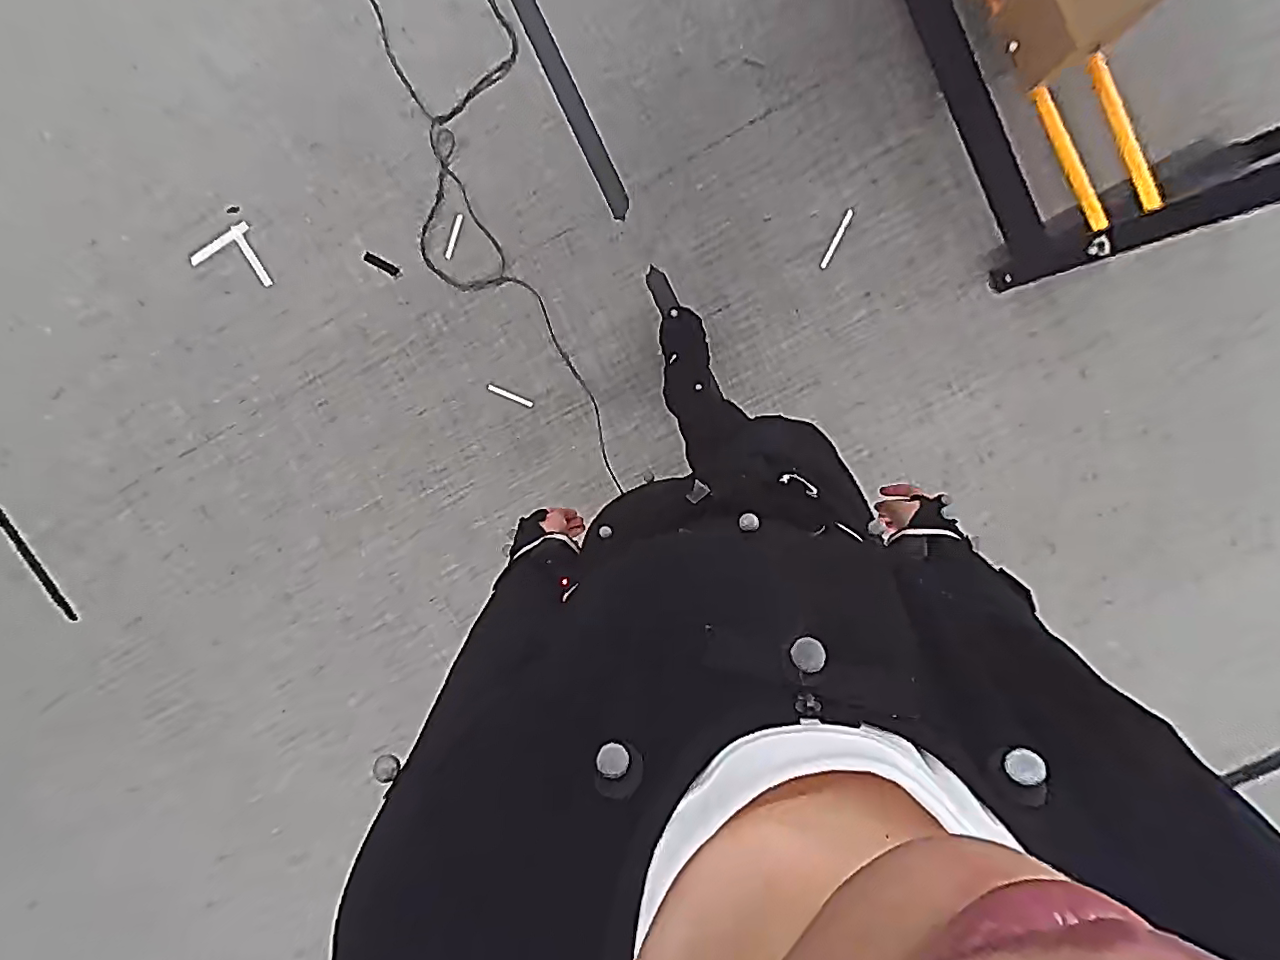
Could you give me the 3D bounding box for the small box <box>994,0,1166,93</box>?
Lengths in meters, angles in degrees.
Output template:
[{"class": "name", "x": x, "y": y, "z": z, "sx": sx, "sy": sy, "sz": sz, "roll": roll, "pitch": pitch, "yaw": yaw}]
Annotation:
[{"class": "small box", "x": 0.808, "y": -0.876, "z": 0.997, "sx": 0.179, "sy": 0.176, "sz": 0.168, "roll": -29, "pitch": 95, "yaw": 9}]
